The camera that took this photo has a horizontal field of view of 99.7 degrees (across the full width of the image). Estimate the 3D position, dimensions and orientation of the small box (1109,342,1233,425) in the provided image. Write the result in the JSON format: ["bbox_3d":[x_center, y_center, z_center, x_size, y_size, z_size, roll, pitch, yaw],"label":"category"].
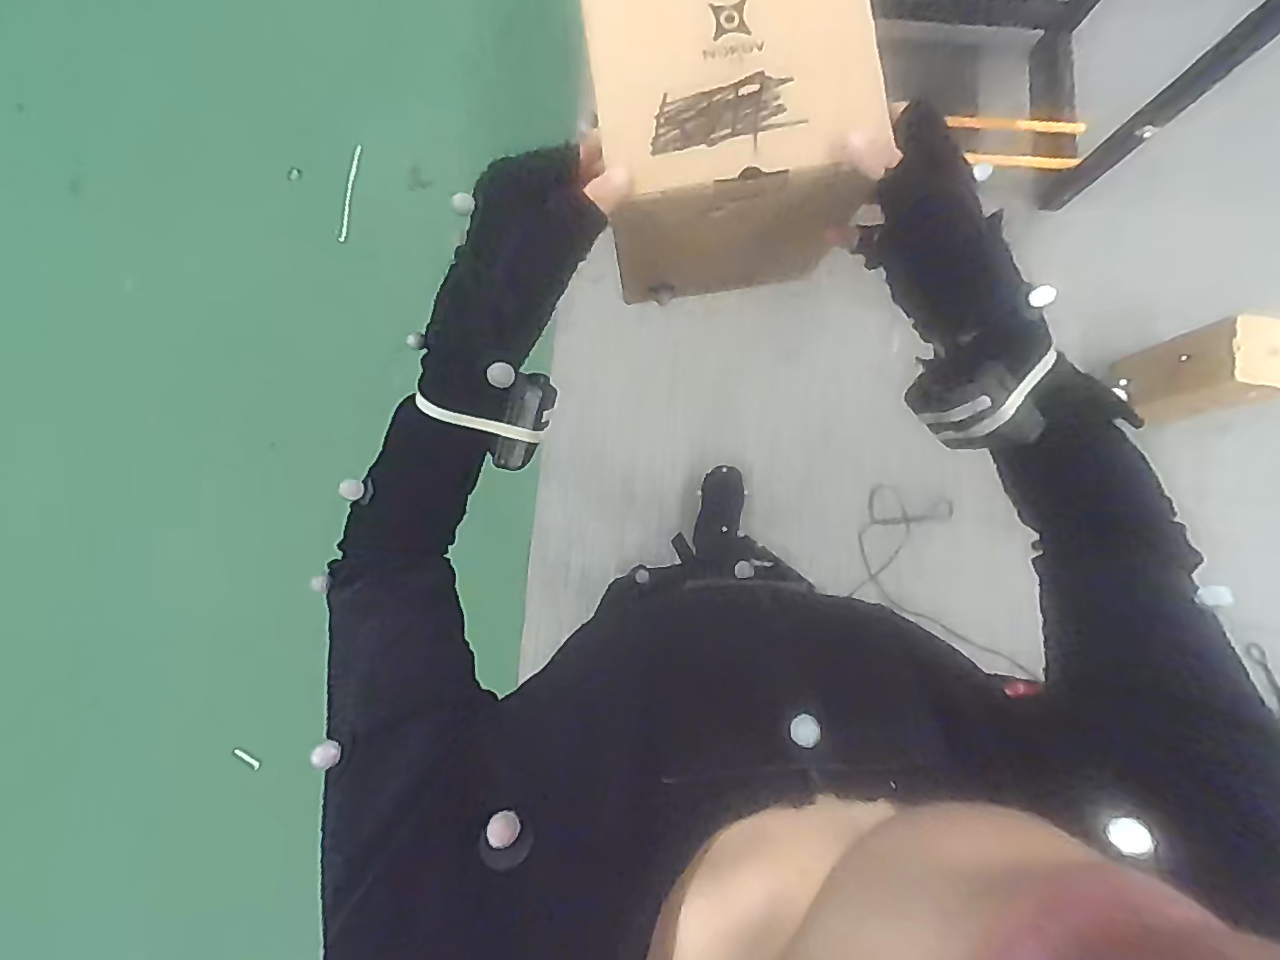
[{"bbox_3d":[1.449,-0.257,1.482,0.179,0.176,0.168,10,82,1],"label":"small box"}]

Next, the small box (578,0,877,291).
[{"bbox_3d":[0.052,-0.256,0.402,0.168,0.176,0.179,-8,87,1],"label":"small box"}]
